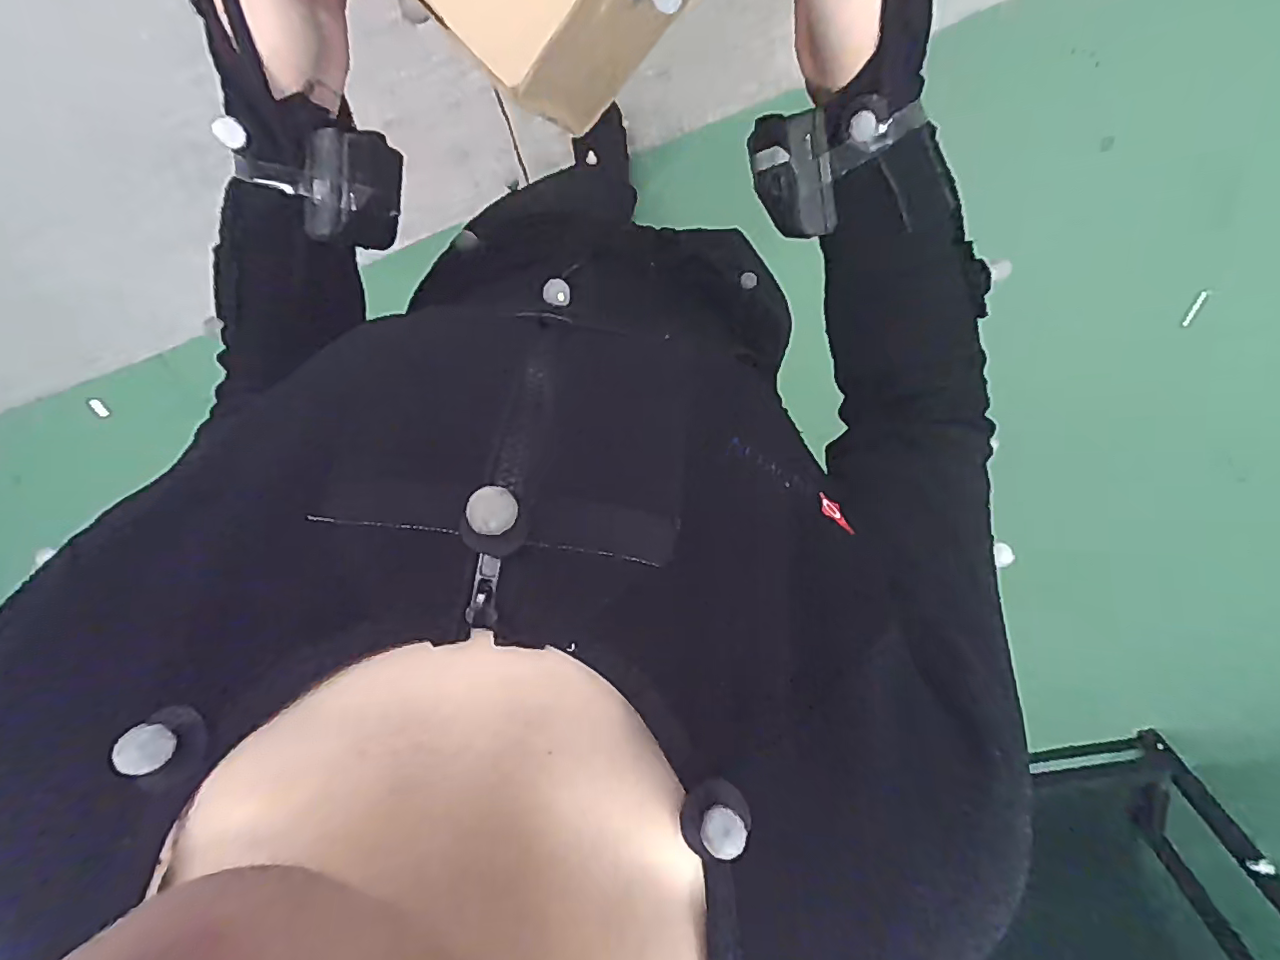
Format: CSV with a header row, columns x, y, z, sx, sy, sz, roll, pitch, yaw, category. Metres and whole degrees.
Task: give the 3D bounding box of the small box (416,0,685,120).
x,y,z,sx,sy,sz,roll,pitch,yaw,category
-0.041,-0.289,0.223,0.168,0.176,0.179,41,114,-17,small box
